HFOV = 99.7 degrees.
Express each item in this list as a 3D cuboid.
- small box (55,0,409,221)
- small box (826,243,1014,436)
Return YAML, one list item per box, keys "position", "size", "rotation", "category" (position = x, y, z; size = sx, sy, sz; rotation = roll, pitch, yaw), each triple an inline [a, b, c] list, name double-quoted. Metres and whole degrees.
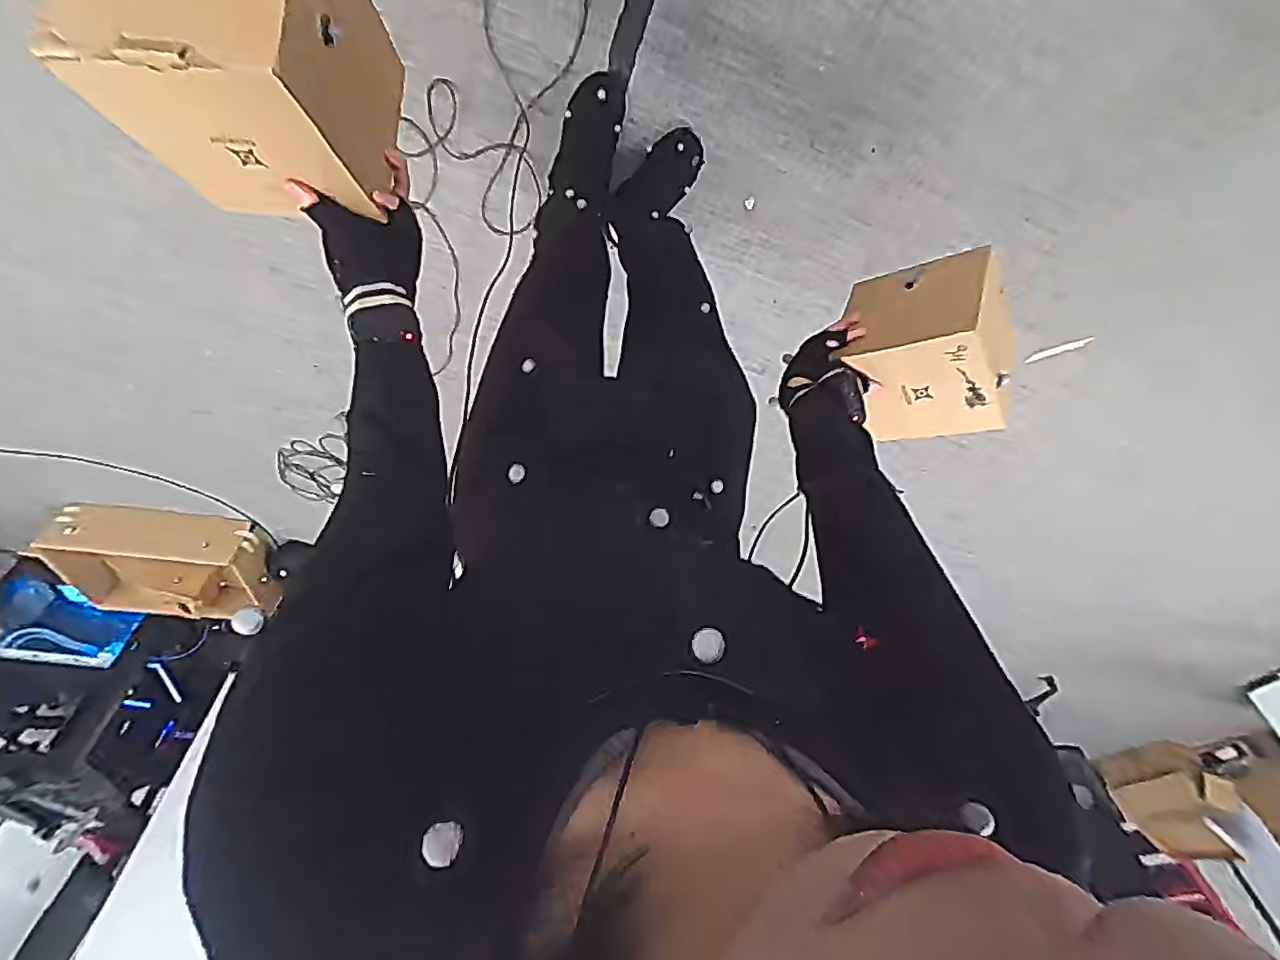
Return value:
- position: [-0.320, -0.356, 0.465]
  size: [0.168, 0.176, 0.179]
  rotation: [5, 174, 0]
  category: "small box"
- position: [0.384, -0.183, 0.734]
  size: [0.179, 0.176, 0.168]
  rotation: [-4, 140, 45]
  category: "small box"
